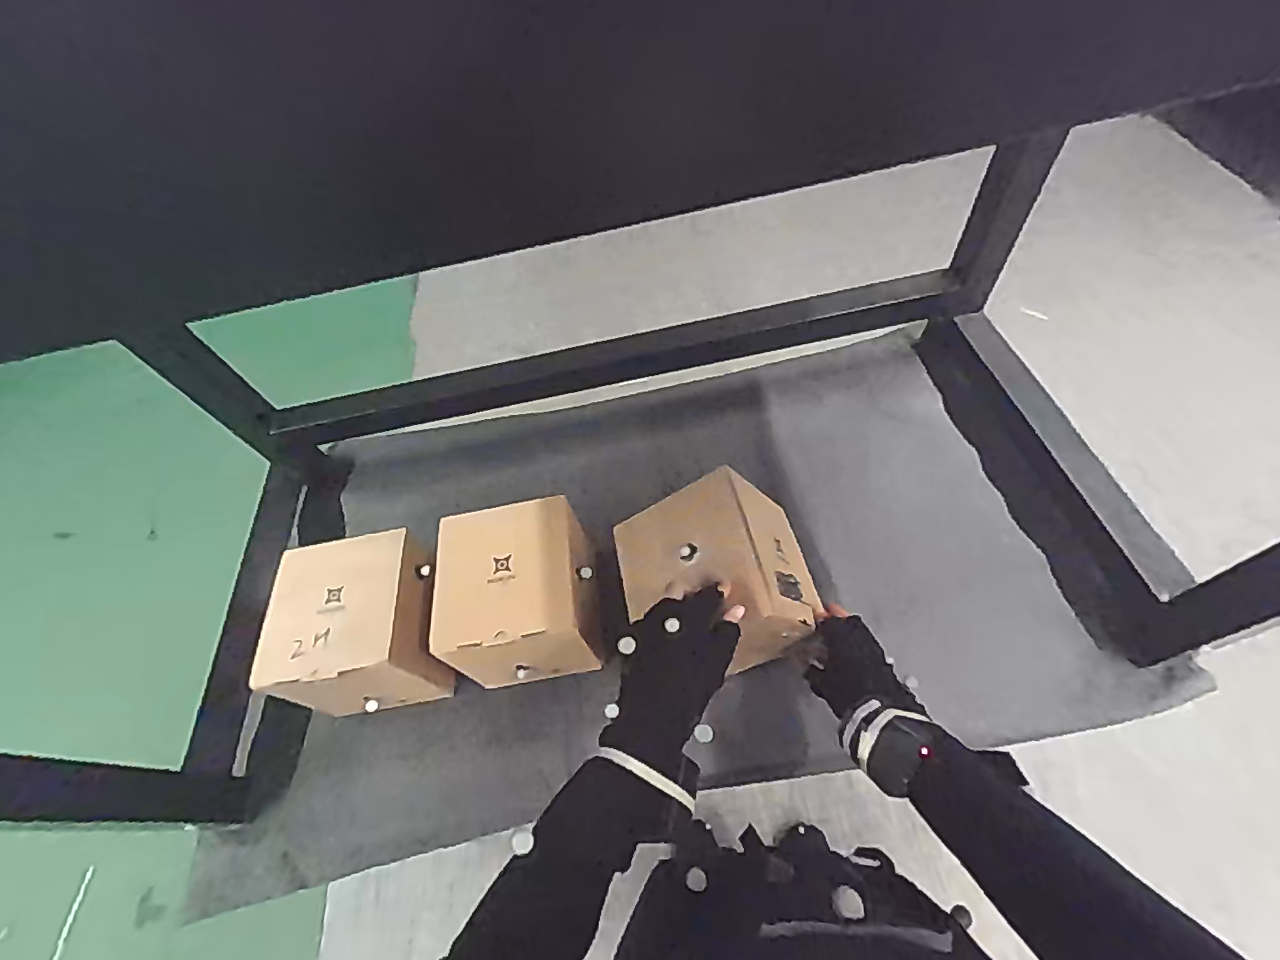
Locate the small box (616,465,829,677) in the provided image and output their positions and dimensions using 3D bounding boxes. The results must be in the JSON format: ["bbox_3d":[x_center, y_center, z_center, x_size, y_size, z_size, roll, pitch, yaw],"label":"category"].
[{"bbox_3d":[0.091,0.119,0.643,0.176,0.168,0.179,-29,52,23],"label":"small box"}]
